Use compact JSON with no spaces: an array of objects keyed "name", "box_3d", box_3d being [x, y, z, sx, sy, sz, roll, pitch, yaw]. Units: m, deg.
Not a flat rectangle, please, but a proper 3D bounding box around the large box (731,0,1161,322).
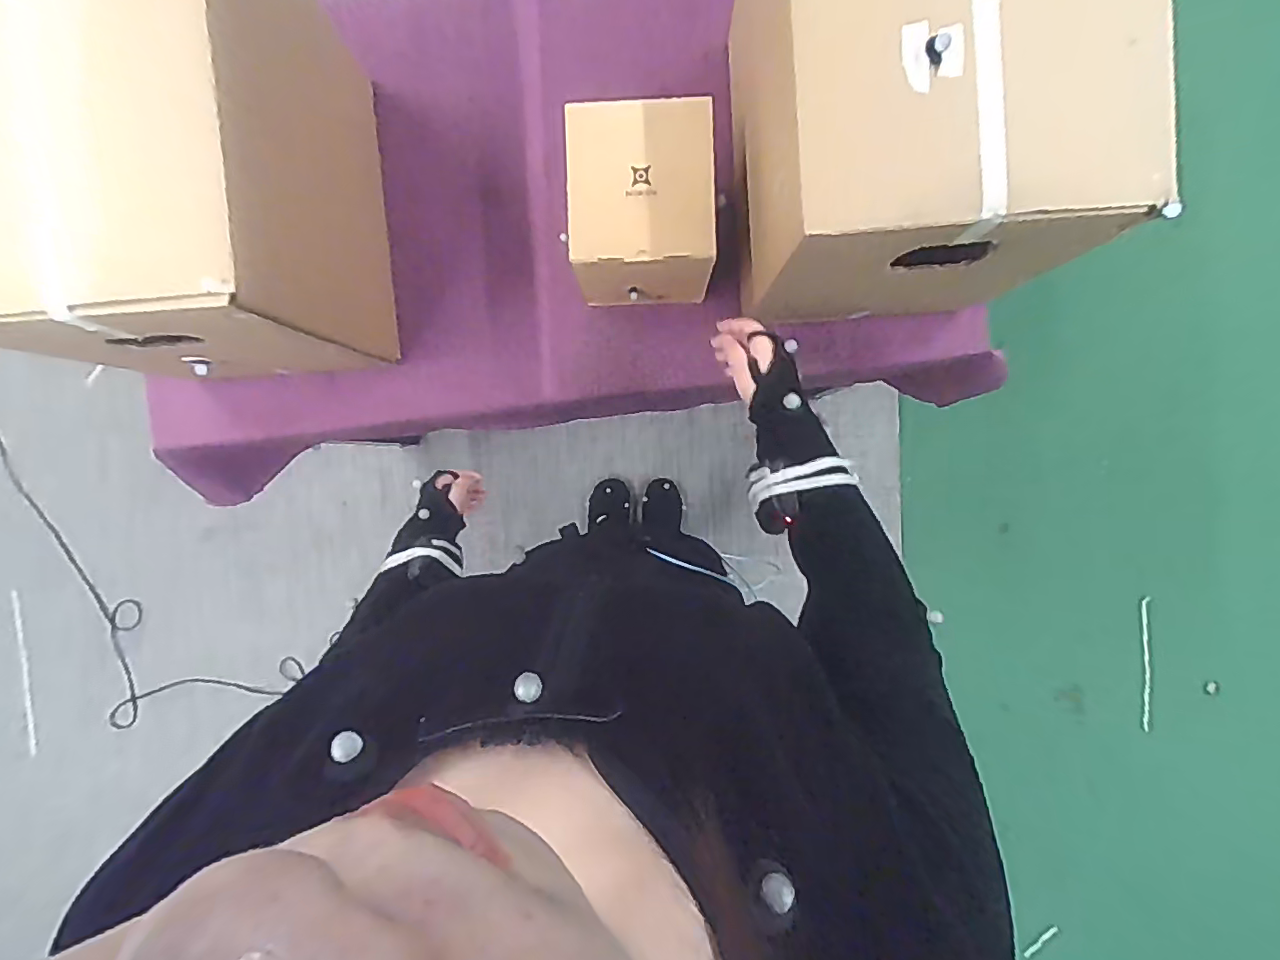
[{"name":"large box","box_3d":[0.291,-0.422,0.611,0.320,0.320,0.408,-3,93,1]}]
